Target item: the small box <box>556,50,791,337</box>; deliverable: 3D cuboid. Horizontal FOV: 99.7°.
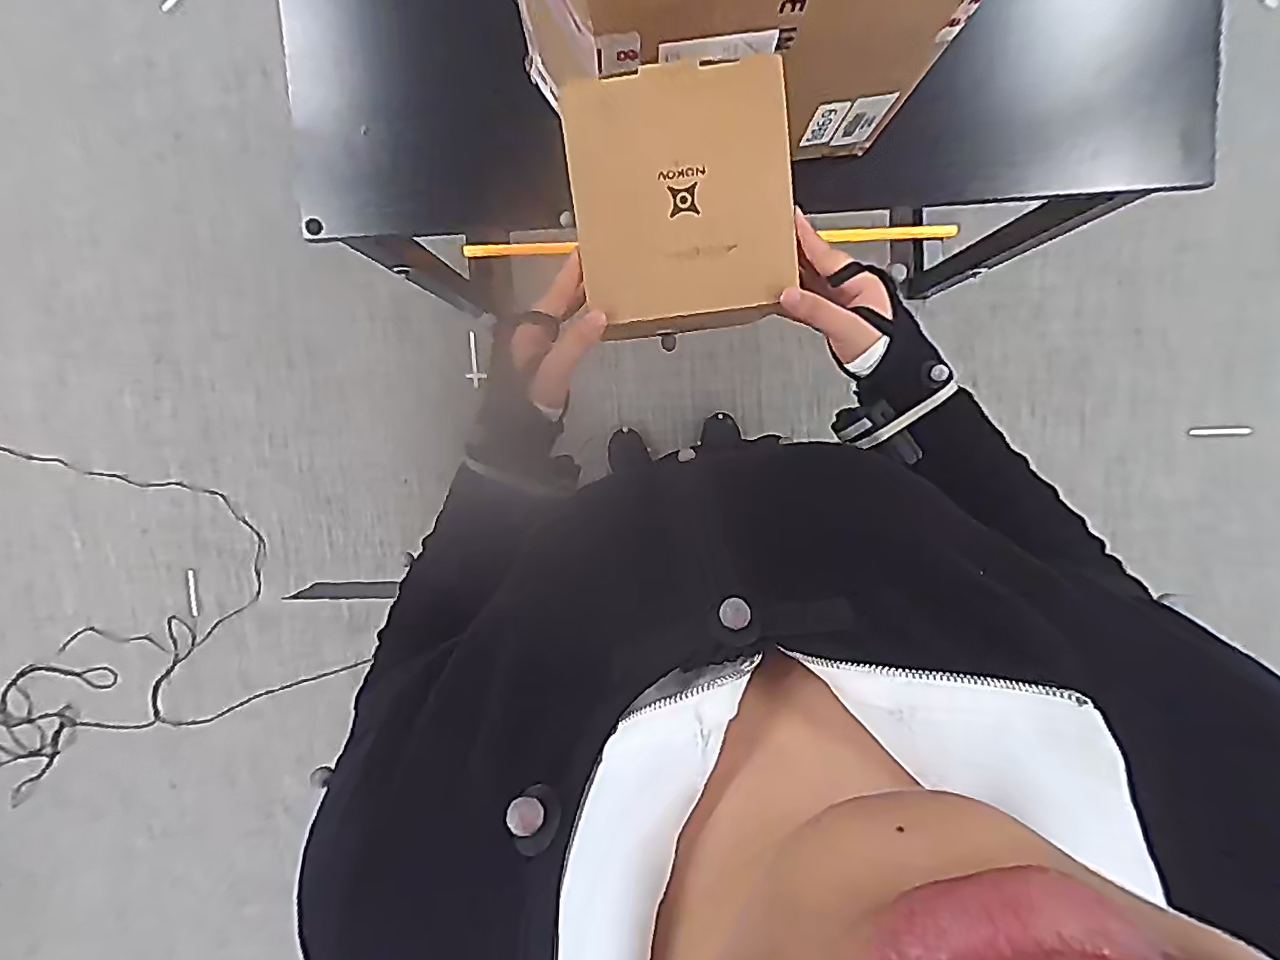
[{"bbox_3d":[0.025,-0.232,0.484,0.168,0.176,0.179,-7,101,0],"label":"small box"}]
